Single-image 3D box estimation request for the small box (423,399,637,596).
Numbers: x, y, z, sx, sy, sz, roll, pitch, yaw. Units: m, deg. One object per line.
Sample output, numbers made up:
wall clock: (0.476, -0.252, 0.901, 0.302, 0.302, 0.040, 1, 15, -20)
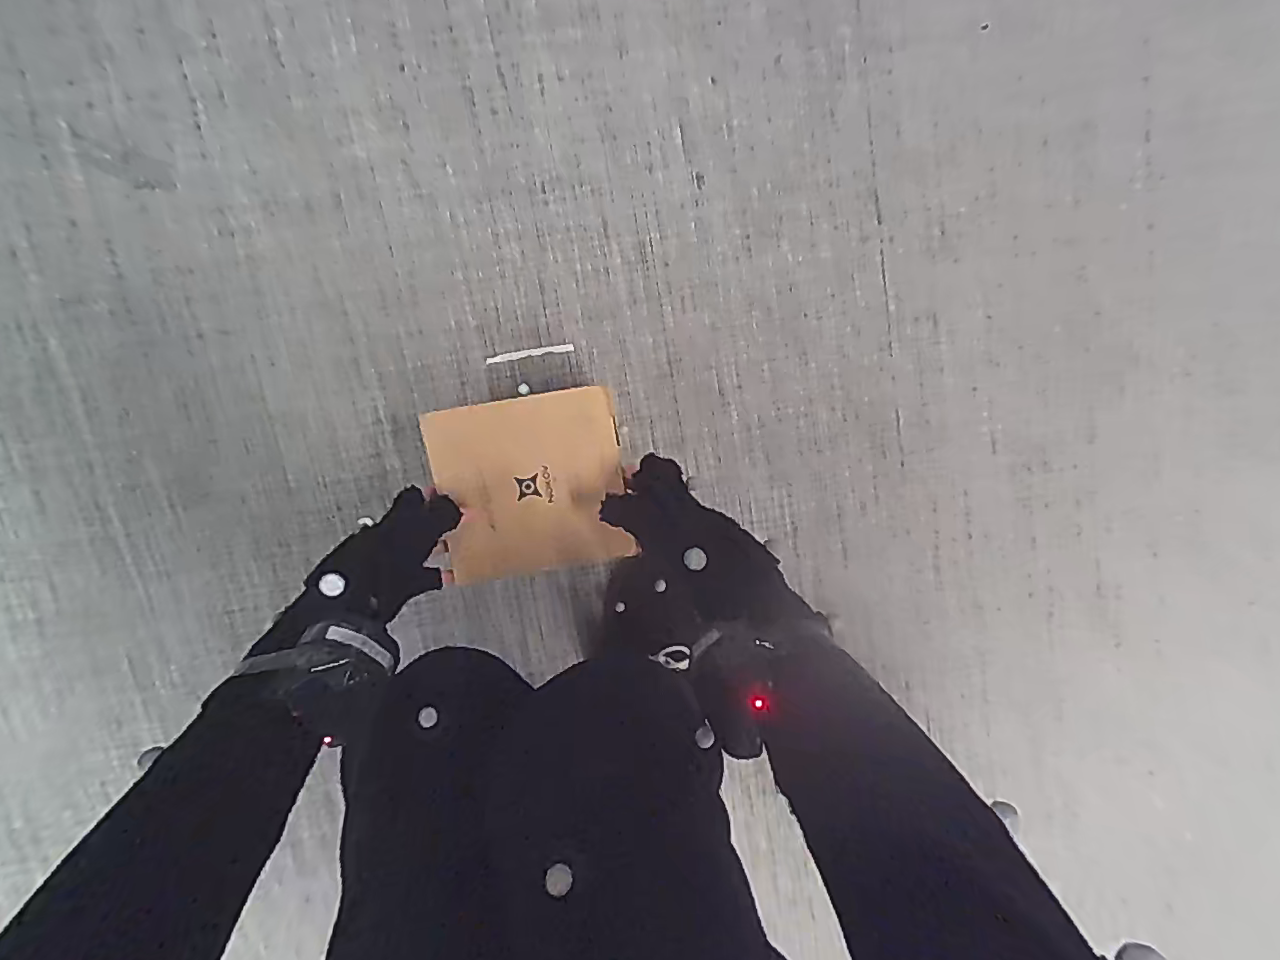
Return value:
small box: (-0.107, 0.007, 0.586, 0.179, 0.176, 0.168, -11, 97, -2)
